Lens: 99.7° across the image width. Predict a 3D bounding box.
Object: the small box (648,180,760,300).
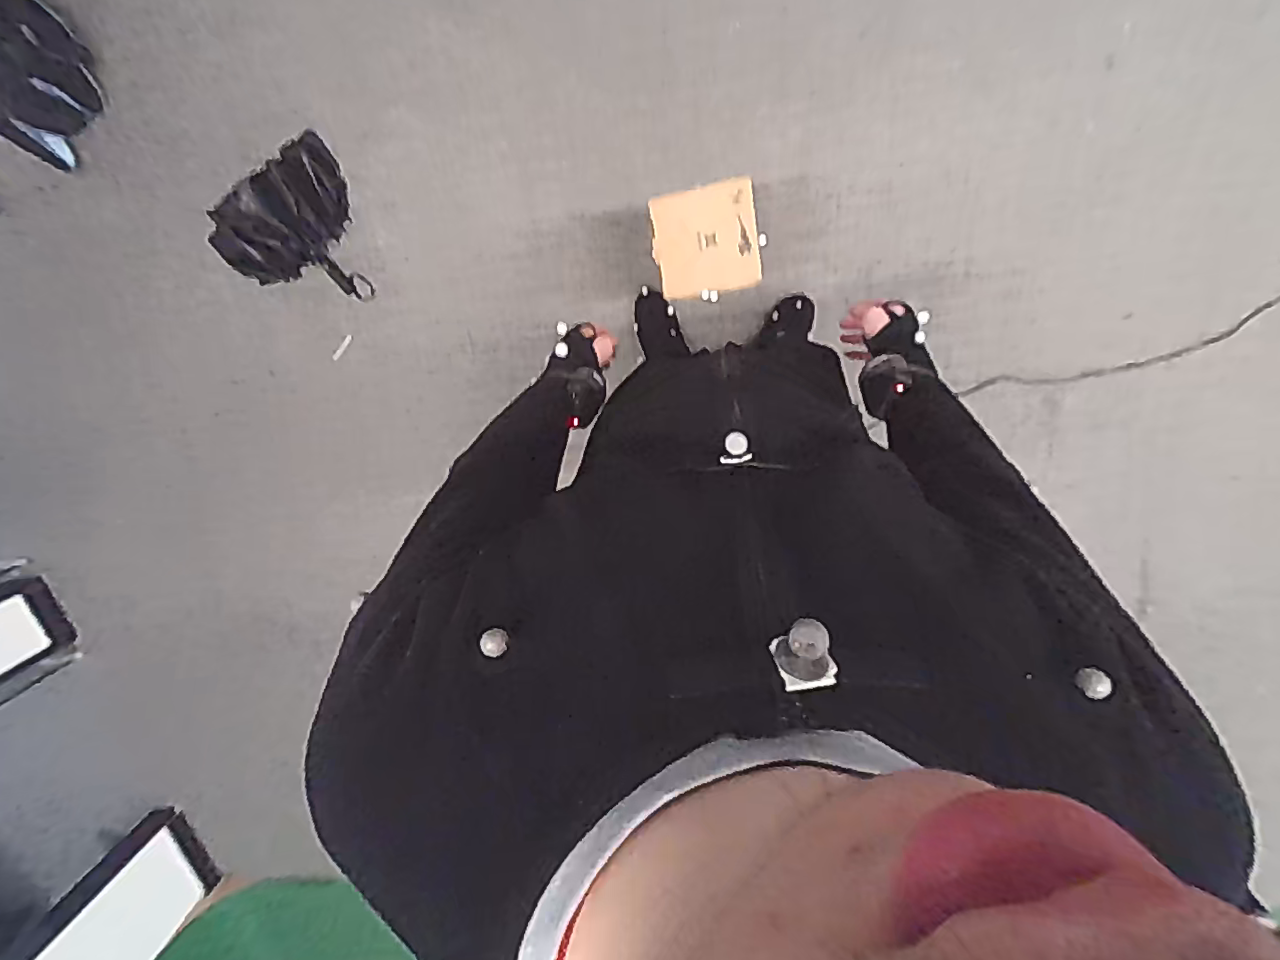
[{"bbox_3d":[0.125,-0.436,1.006,0.179,0.176,0.168,-8,110,12],"label":"small box"}]
